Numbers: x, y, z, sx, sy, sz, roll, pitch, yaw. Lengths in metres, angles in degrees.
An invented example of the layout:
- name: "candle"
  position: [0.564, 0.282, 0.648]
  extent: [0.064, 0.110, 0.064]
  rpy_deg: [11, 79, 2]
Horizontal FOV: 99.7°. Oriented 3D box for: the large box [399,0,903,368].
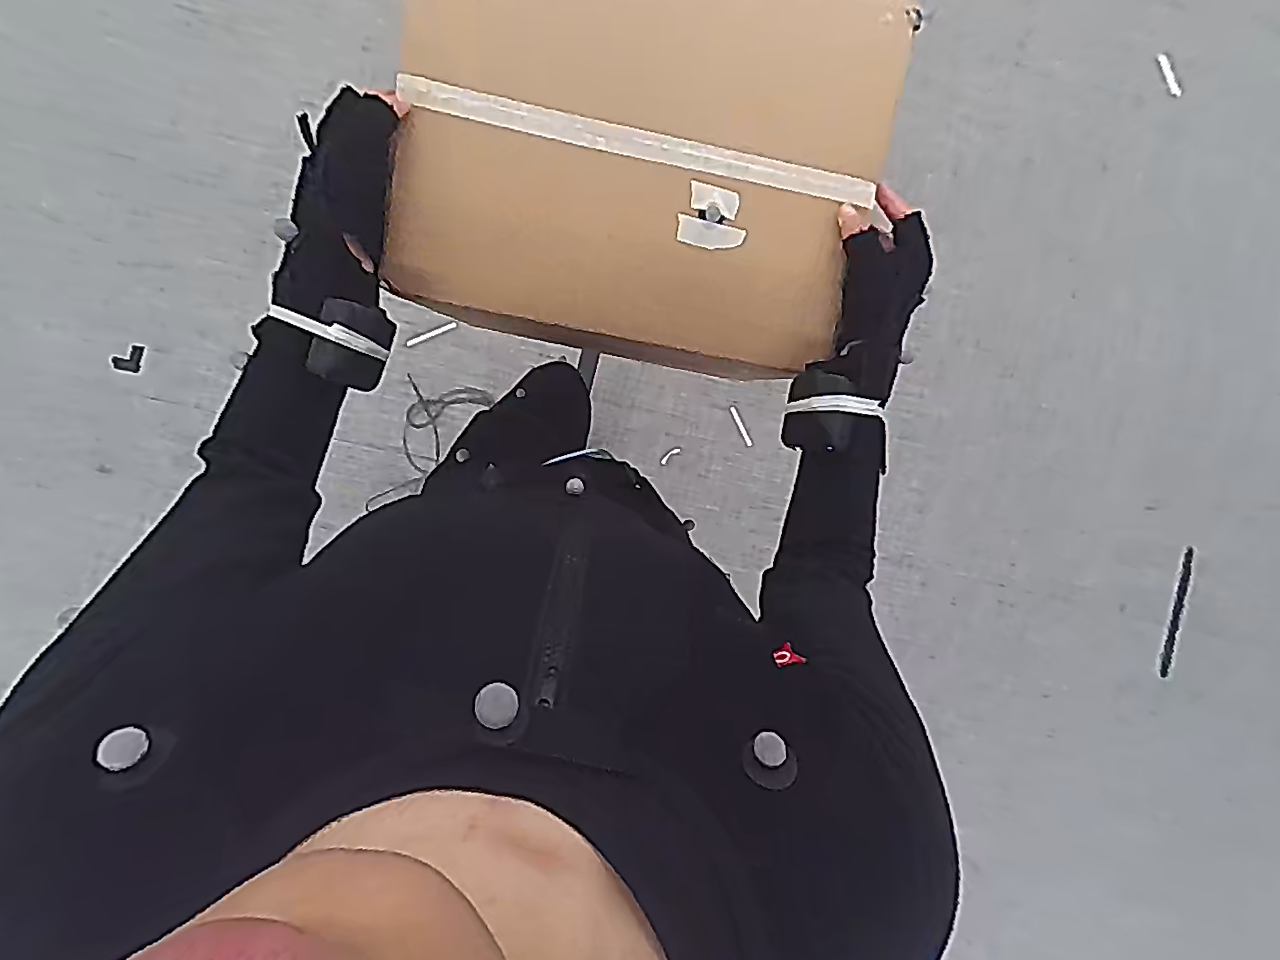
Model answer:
- name: "large box"
  position: [-0.005, -0.317, 0.614]
  extent: [0.408, 0.320, 0.320]
  rpy_deg: [10, 100, -6]
